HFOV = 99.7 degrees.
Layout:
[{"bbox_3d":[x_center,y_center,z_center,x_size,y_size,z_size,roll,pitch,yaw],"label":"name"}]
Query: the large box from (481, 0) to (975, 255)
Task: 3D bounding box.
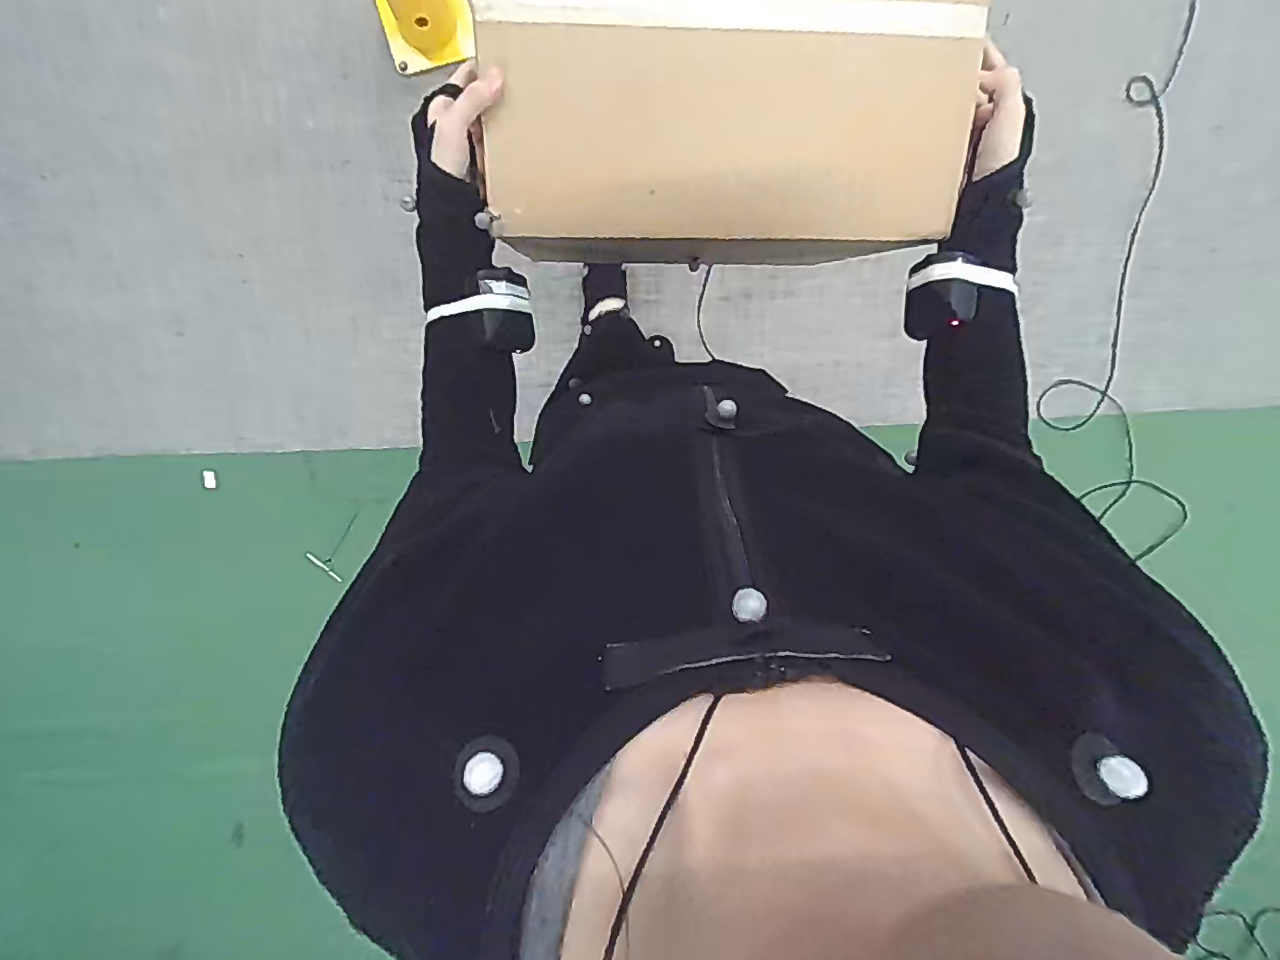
[{"bbox_3d":[0.066,-0.415,0.575,0.408,0.320,0.320,-1,108,-3],"label":"large box"}]
